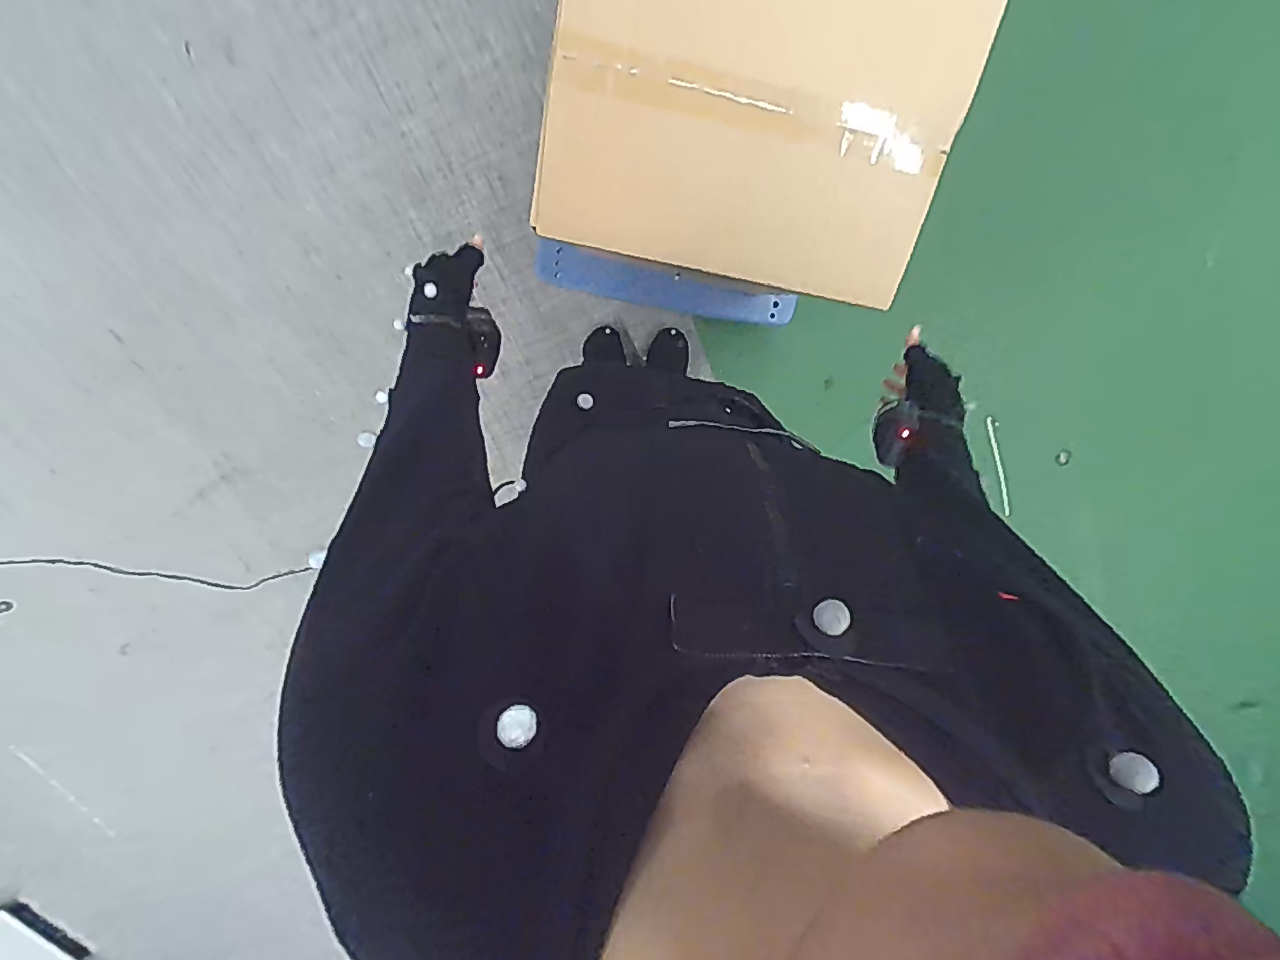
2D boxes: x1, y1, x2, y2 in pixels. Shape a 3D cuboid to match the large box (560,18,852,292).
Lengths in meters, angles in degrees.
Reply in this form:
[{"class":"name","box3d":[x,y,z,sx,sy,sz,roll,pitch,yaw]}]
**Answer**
[{"class":"large box","box3d":[0.094,-0.533,0.972,0.408,0.320,0.320,11,107,-4]}]
